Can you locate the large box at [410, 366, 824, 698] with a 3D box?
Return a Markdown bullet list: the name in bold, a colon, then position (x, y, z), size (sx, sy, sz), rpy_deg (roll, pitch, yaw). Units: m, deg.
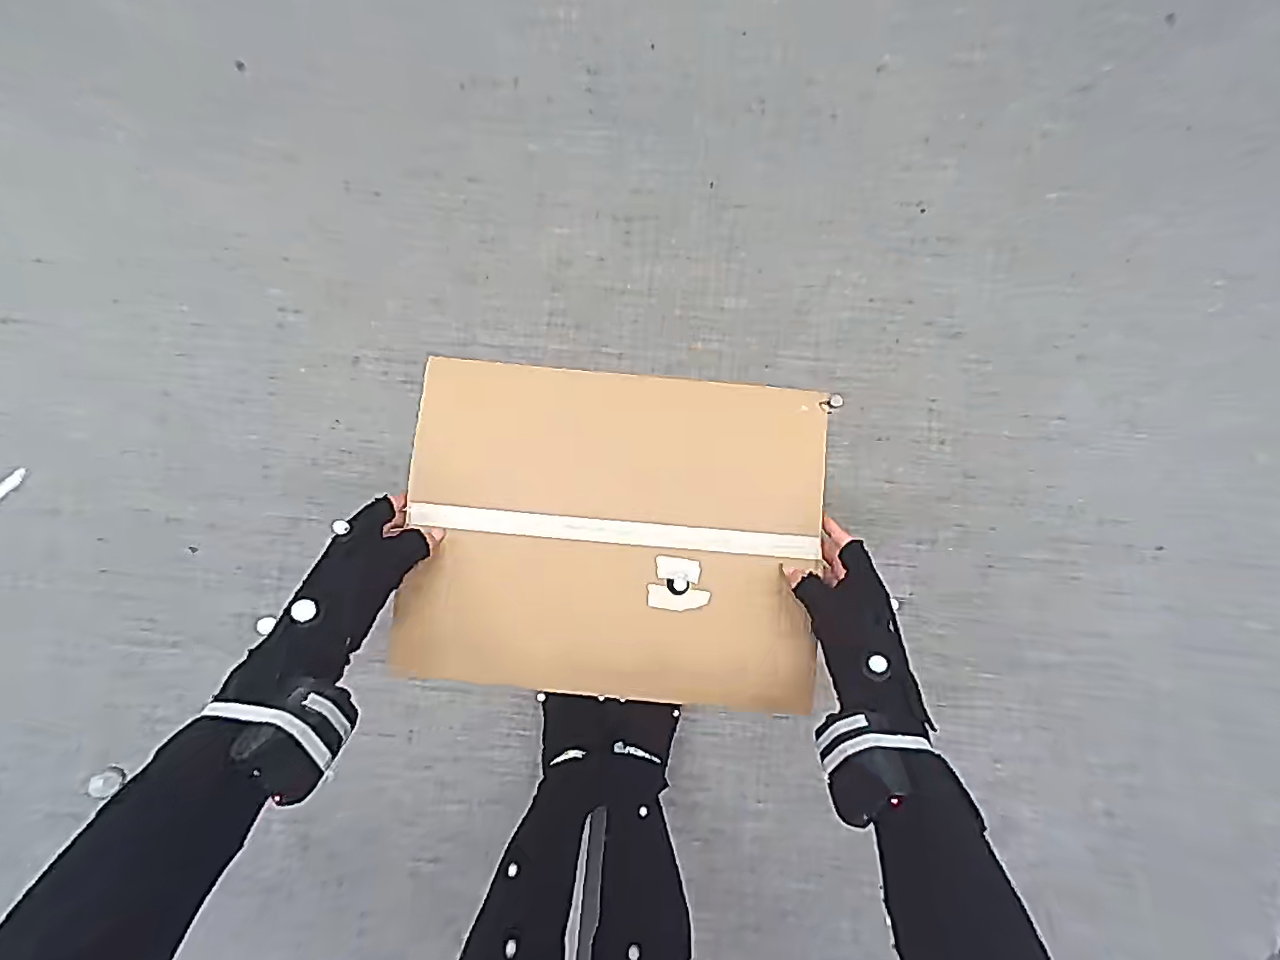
- **large box**: position (-0.021, 0.066, 0.693), size (0.408, 0.320, 0.320), rpy_deg (6, 84, 0)
